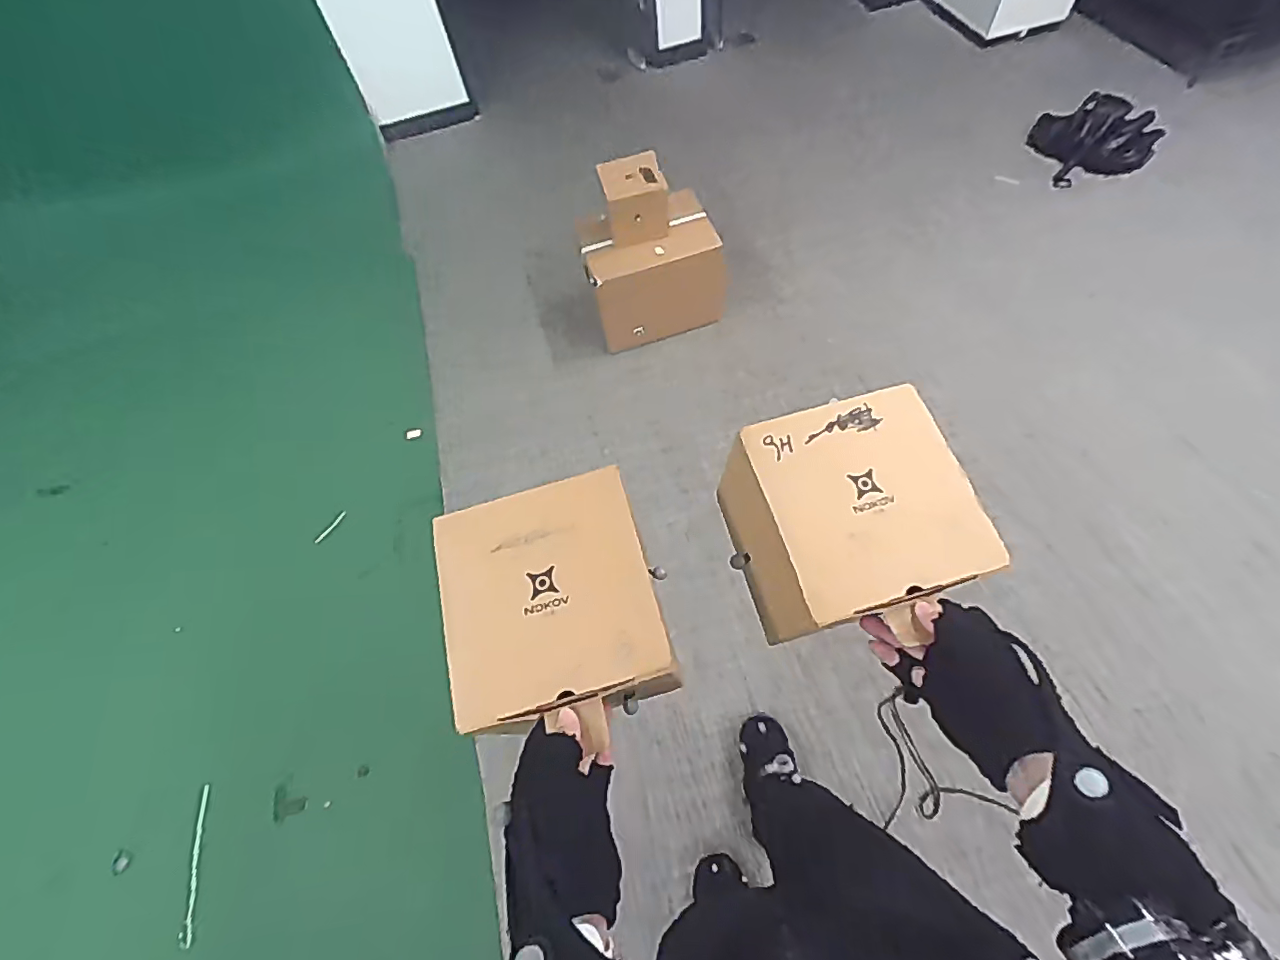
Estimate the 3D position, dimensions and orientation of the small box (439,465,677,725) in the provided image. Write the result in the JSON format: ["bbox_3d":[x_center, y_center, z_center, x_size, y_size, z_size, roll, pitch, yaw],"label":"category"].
[{"bbox_3d":[-0.067,0.117,0.506,0.168,0.176,0.179,-16,63,-2],"label":"small box"}]

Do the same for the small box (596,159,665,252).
[{"bbox_3d":[-0.024,-0.814,1.611,0.179,0.176,0.168,-12,64,-1],"label":"small box"}]
